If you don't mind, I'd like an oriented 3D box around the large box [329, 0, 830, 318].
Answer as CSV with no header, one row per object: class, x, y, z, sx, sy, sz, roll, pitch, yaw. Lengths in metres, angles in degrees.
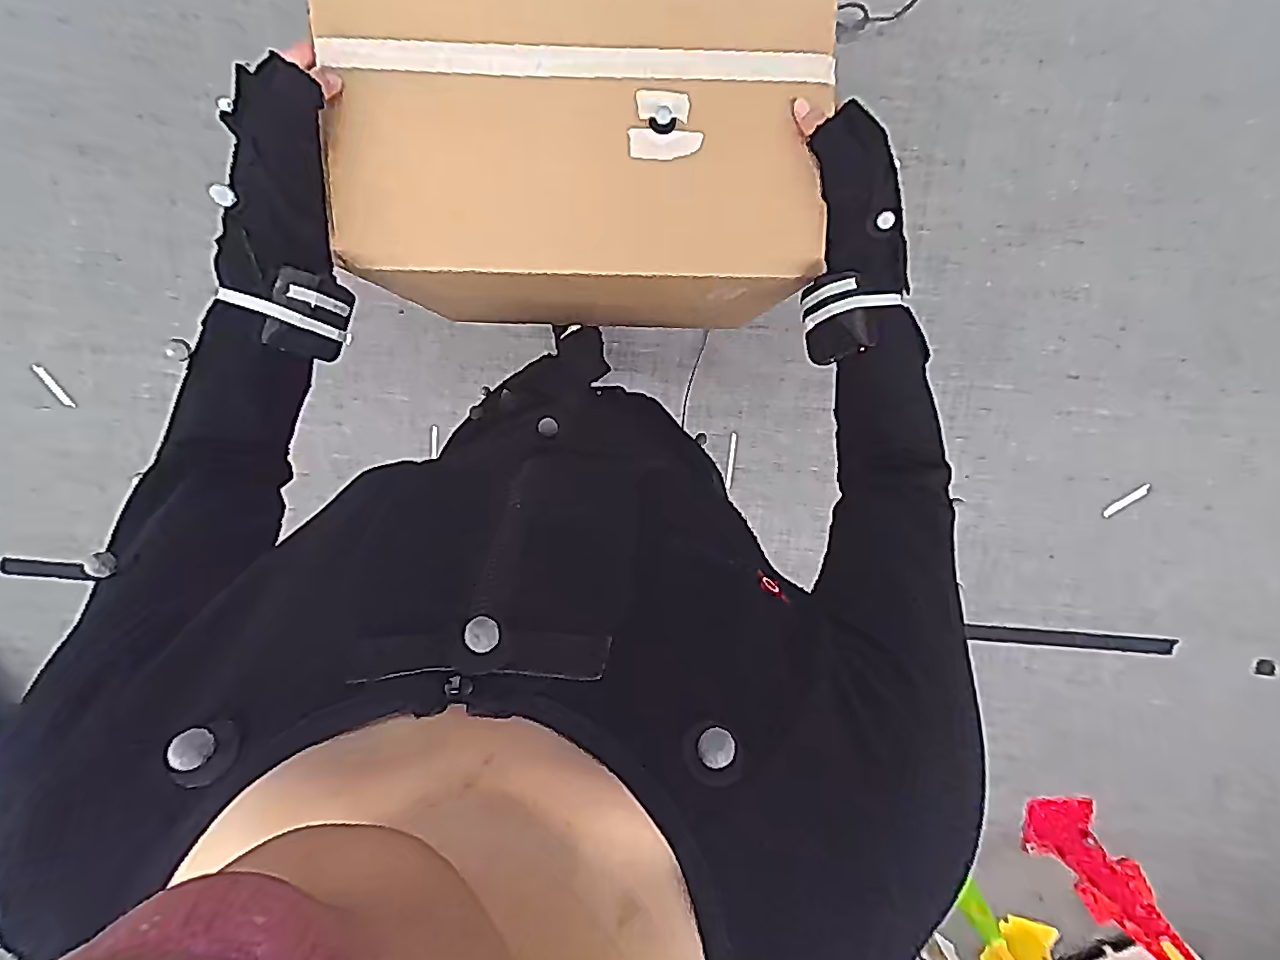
large box,-0.053,-0.358,0.581,0.408,0.320,0.320,0,98,-2
